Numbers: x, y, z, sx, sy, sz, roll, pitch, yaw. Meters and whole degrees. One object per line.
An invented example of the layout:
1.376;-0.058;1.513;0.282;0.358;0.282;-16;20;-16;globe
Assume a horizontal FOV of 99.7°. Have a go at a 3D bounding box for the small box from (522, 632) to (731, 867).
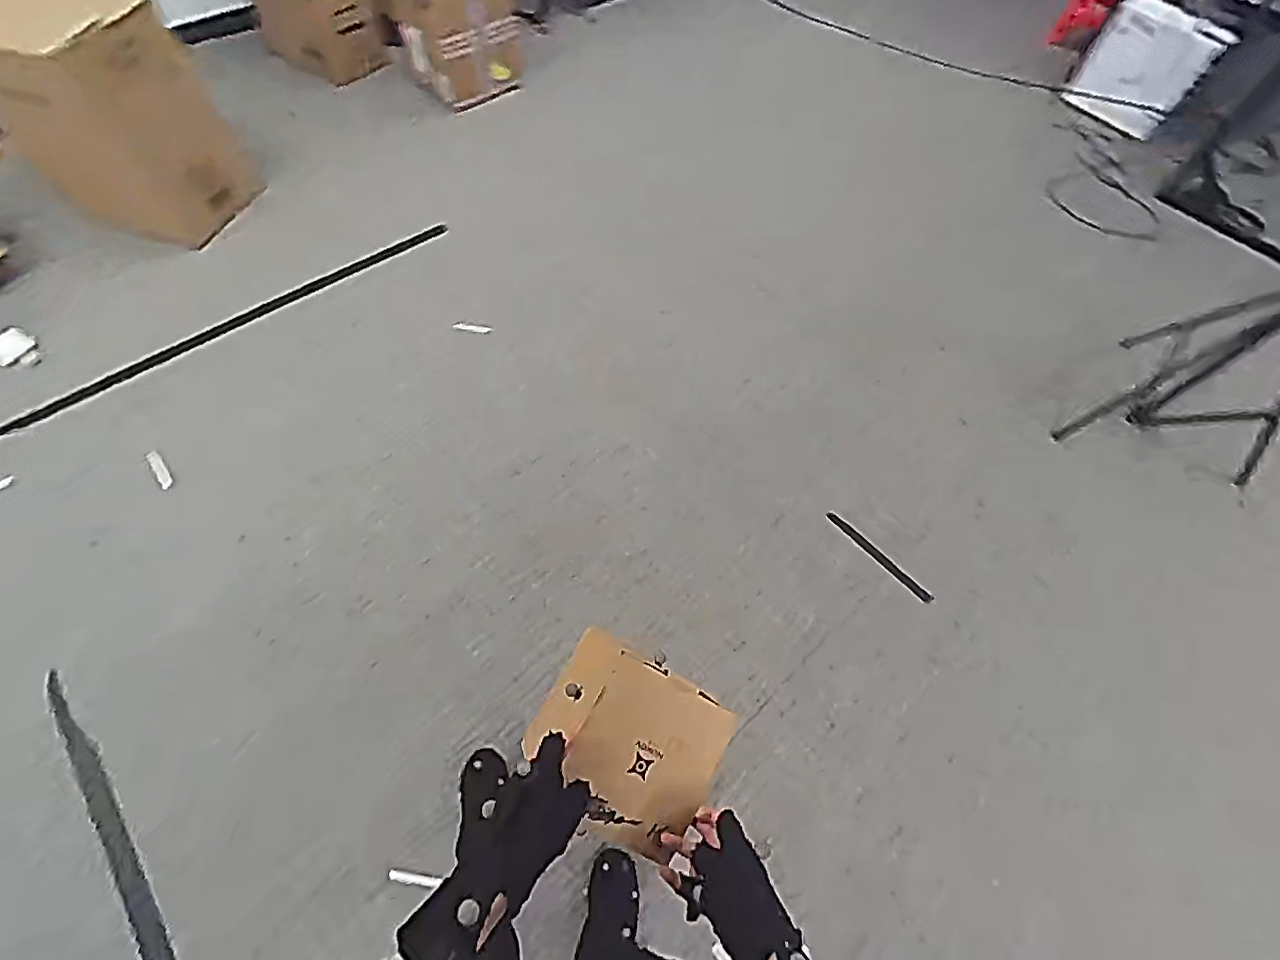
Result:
-0.027;0.306;0.655;0.168;0.176;0.179;34;75;-13;small box
